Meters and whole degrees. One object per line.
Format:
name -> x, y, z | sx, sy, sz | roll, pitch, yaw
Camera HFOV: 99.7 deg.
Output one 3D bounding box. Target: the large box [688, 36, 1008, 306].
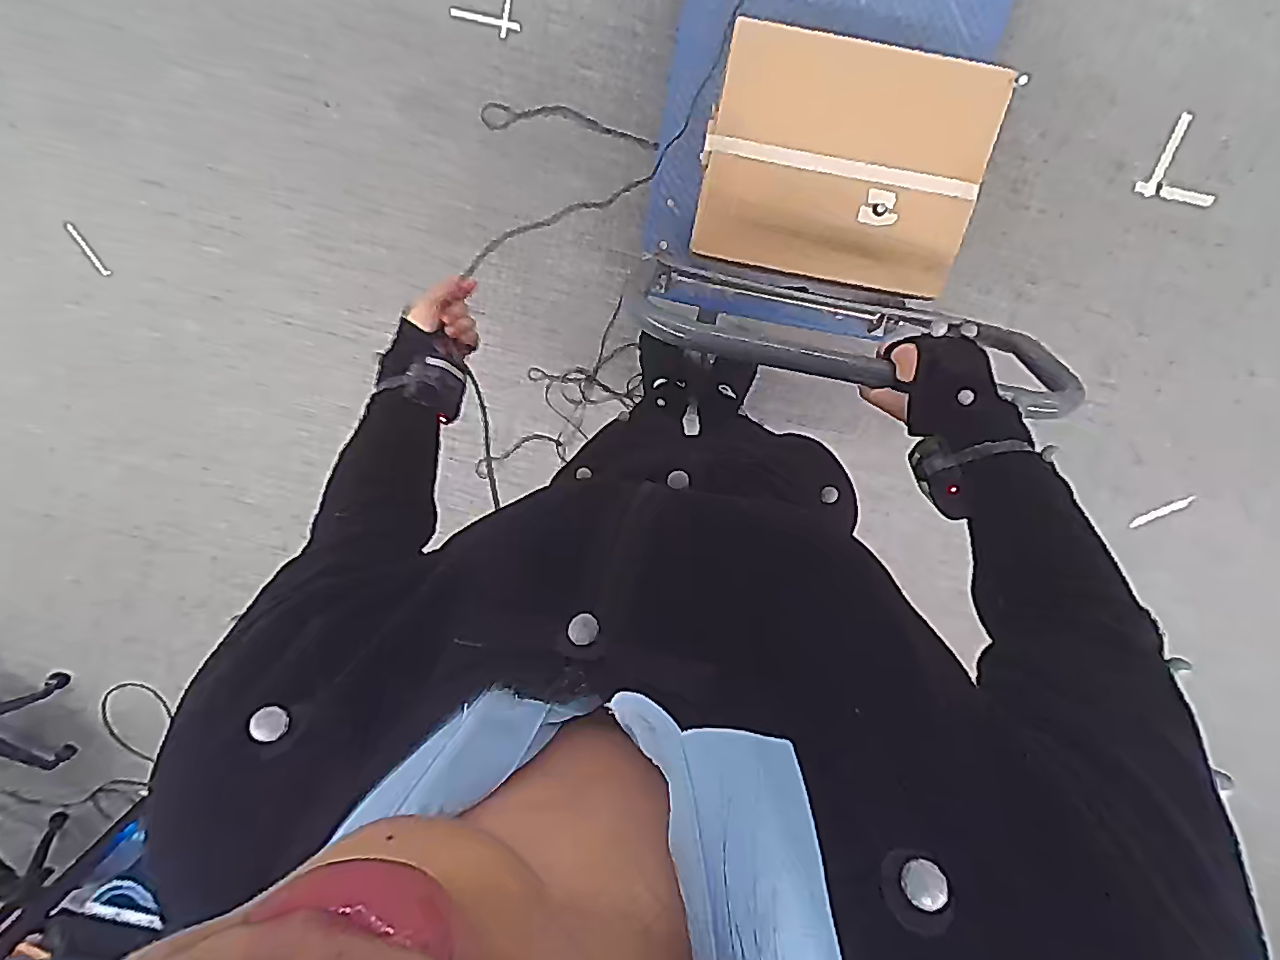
large box -> 0.310, -0.502, 0.953 | 0.408, 0.320, 0.320 | 11, 111, 0
